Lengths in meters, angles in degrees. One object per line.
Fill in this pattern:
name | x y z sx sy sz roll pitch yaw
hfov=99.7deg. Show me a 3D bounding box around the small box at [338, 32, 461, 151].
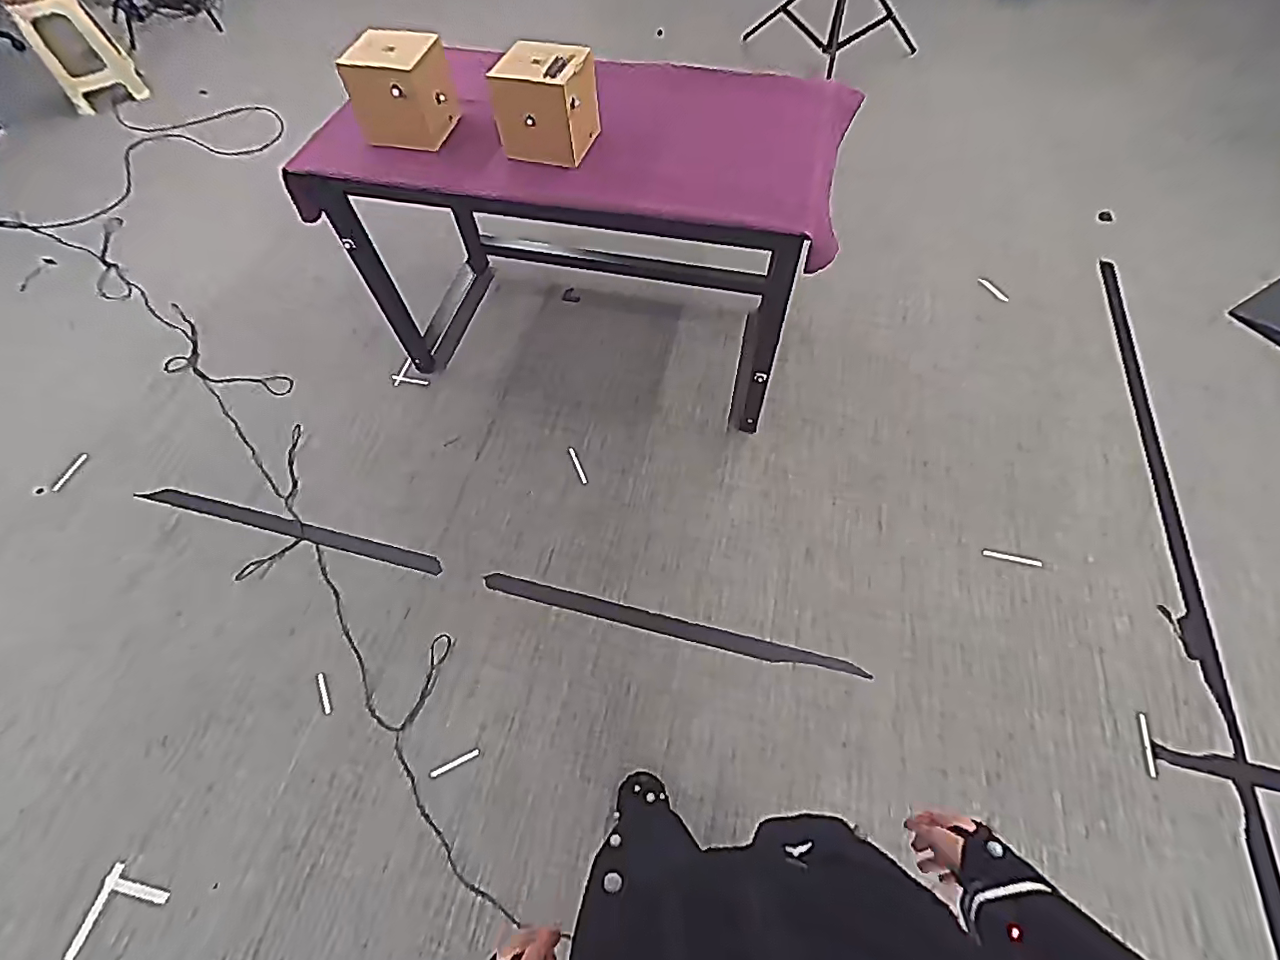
small box | -0.537 -0.885 1.239 0.179 0.176 0.168 9 60 7
